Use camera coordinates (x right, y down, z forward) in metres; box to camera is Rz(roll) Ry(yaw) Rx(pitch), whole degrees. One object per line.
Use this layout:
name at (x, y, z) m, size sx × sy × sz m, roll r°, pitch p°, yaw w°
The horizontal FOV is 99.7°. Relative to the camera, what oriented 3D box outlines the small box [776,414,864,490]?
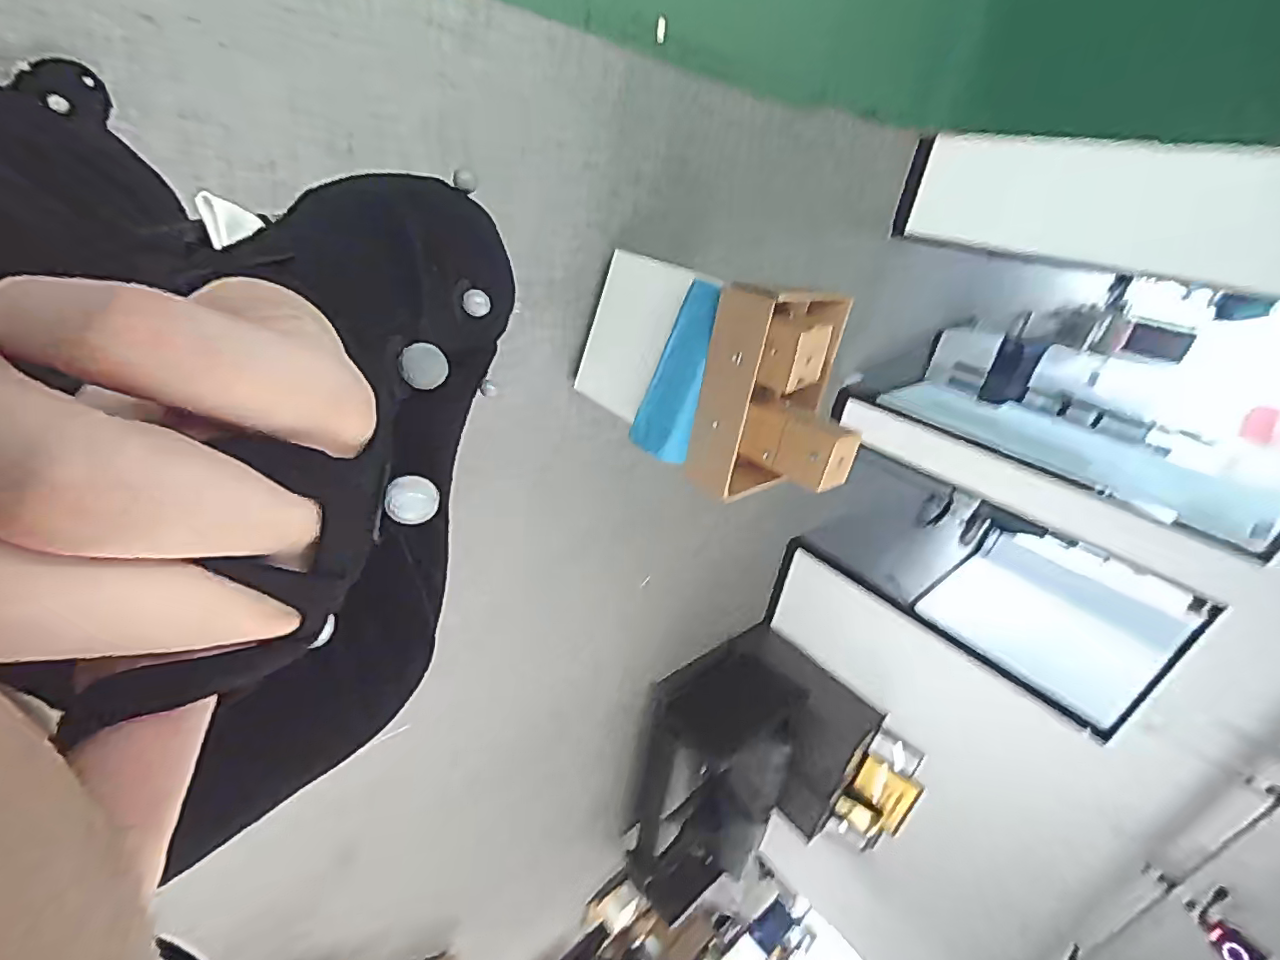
small box at (0.541, -0.095, 1.644) m, size 0.168 × 0.176 × 0.179 m, roll -13°, pitch 125°, yaw -41°
